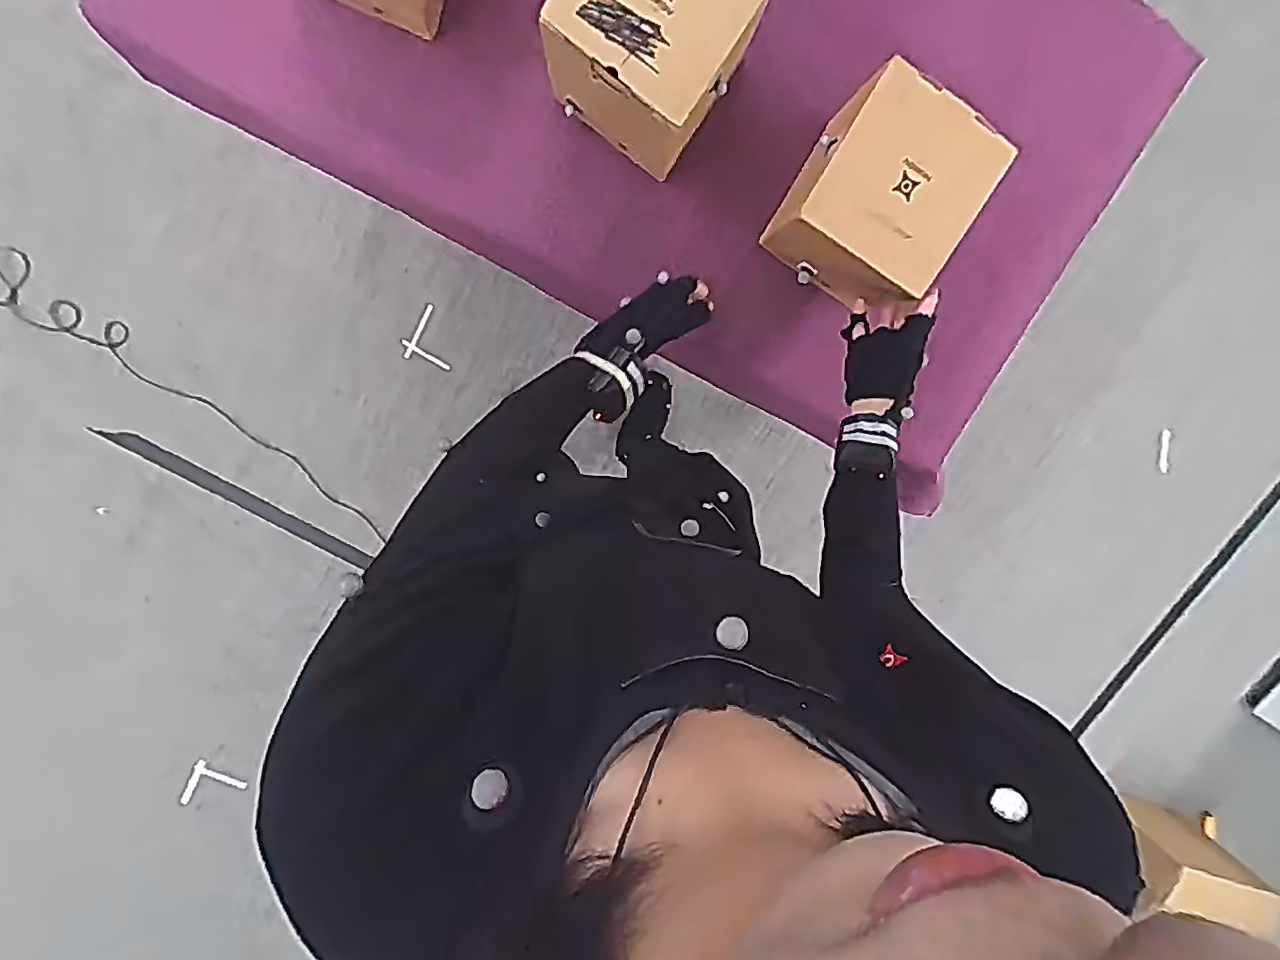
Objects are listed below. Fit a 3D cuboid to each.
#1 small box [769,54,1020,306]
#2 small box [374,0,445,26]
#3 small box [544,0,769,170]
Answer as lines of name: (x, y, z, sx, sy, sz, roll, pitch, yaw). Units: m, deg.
small box: (0.276, -0.327, 0.635, 0.168, 0.176, 0.179, 30, 100, -8)
small box: (-0.279, -0.608, 0.530, 0.168, 0.176, 0.179, 18, 102, -8)
small box: (0.020, -0.478, 0.581, 0.168, 0.176, 0.179, 34, 98, -11)
